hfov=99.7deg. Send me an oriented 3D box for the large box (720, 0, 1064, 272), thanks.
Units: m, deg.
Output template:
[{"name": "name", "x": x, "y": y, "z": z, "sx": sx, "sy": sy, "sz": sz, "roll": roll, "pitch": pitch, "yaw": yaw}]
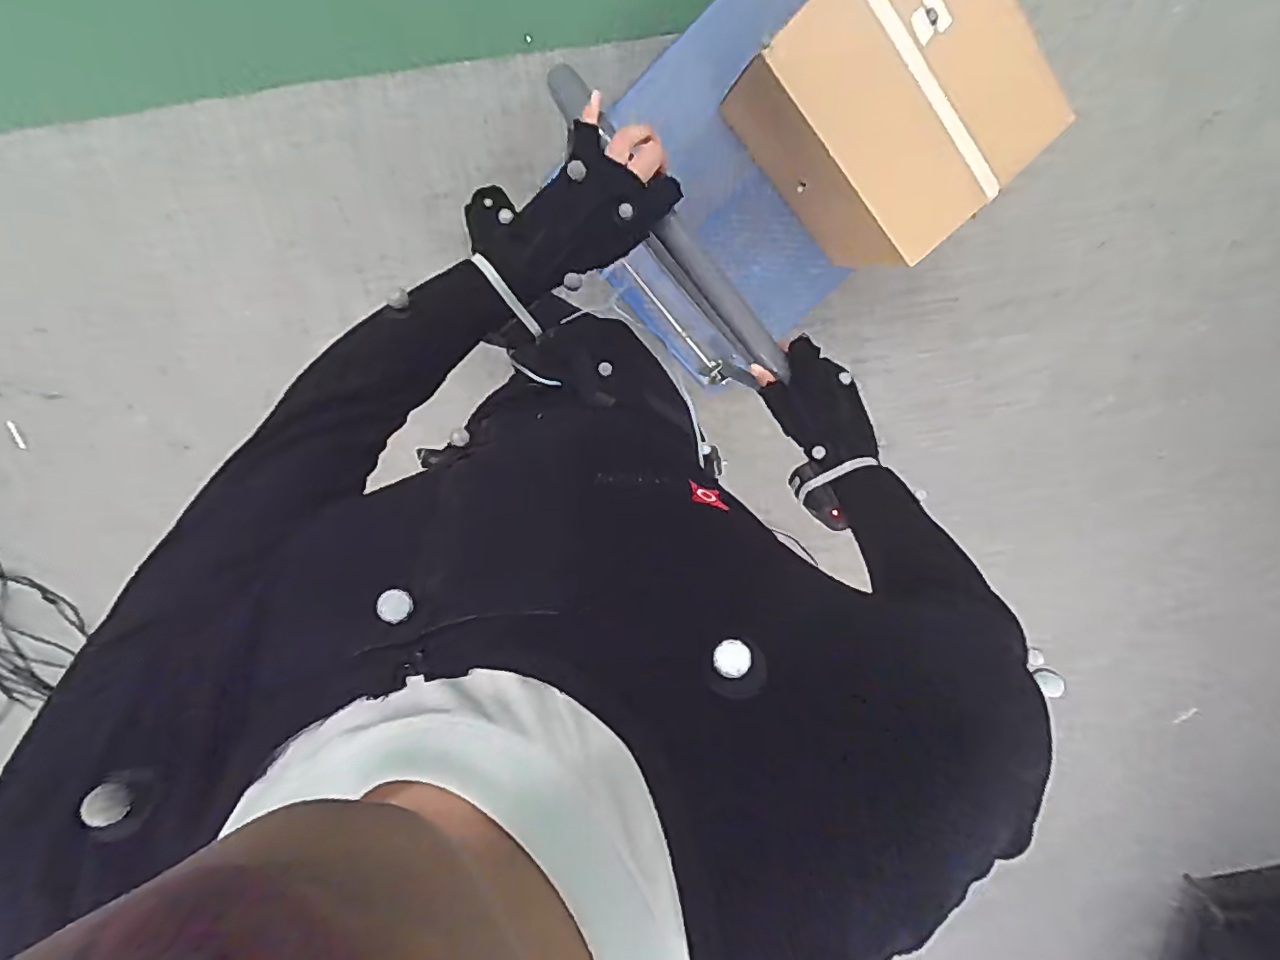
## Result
[{"name": "large box", "x": 0.403, "y": -0.626, "z": 0.945, "sx": 0.320, "sy": 0.320, "sz": 0.408, "roll": -42, "pitch": 107, "yaw": 12}]
